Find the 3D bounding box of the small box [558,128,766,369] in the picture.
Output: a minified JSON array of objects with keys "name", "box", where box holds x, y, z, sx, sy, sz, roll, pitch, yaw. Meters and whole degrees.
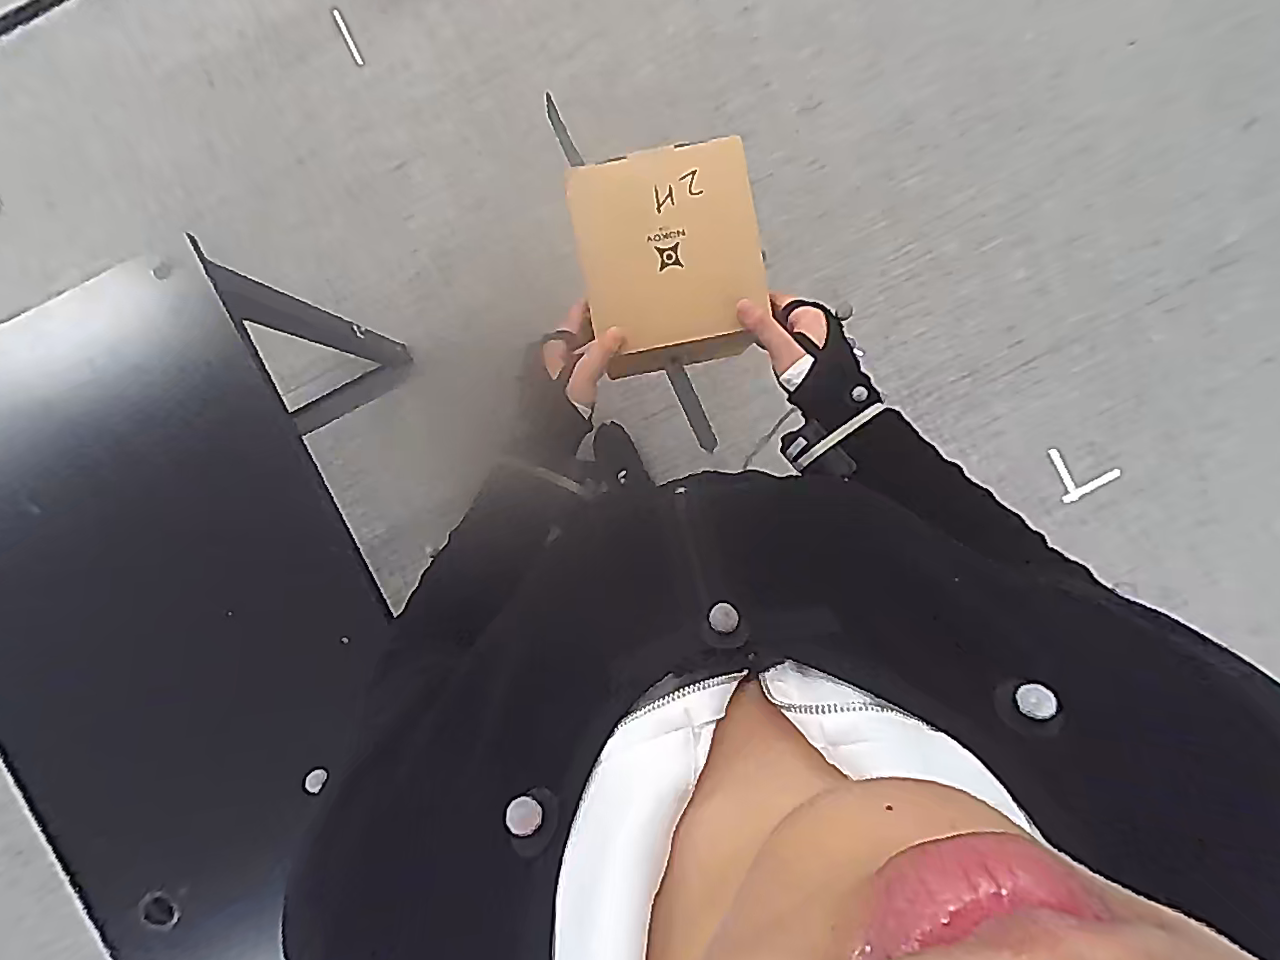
[{"name":"small box","box":[0.023,-0.221,0.570,0.168,0.176,0.179,-11,93,2]}]
